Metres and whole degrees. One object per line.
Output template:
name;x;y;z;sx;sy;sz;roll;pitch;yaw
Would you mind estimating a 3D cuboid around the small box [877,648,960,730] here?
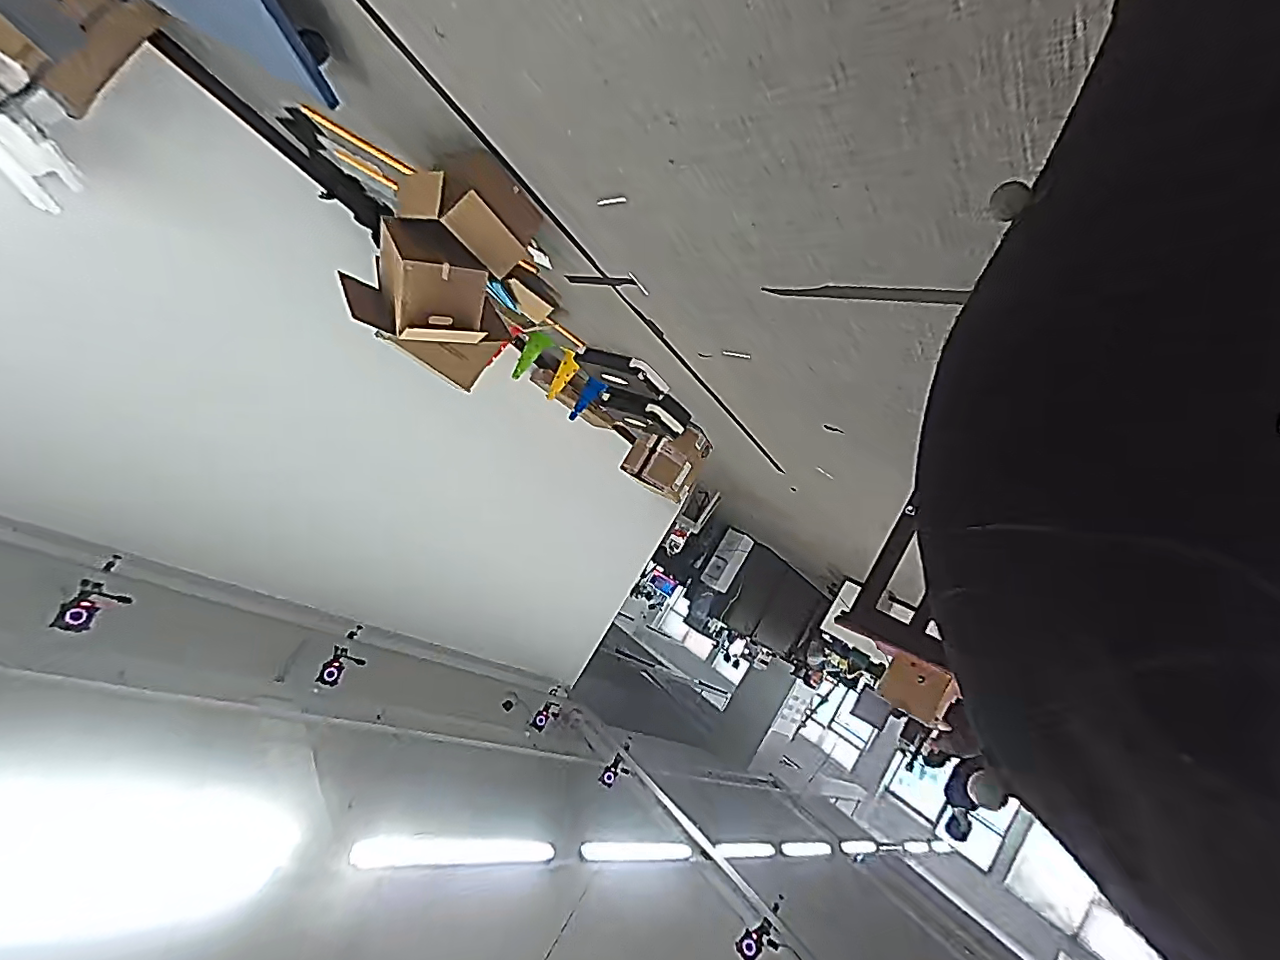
small box;0.875;0.650;1.689;0.168;0.176;0.179;25;172;43
